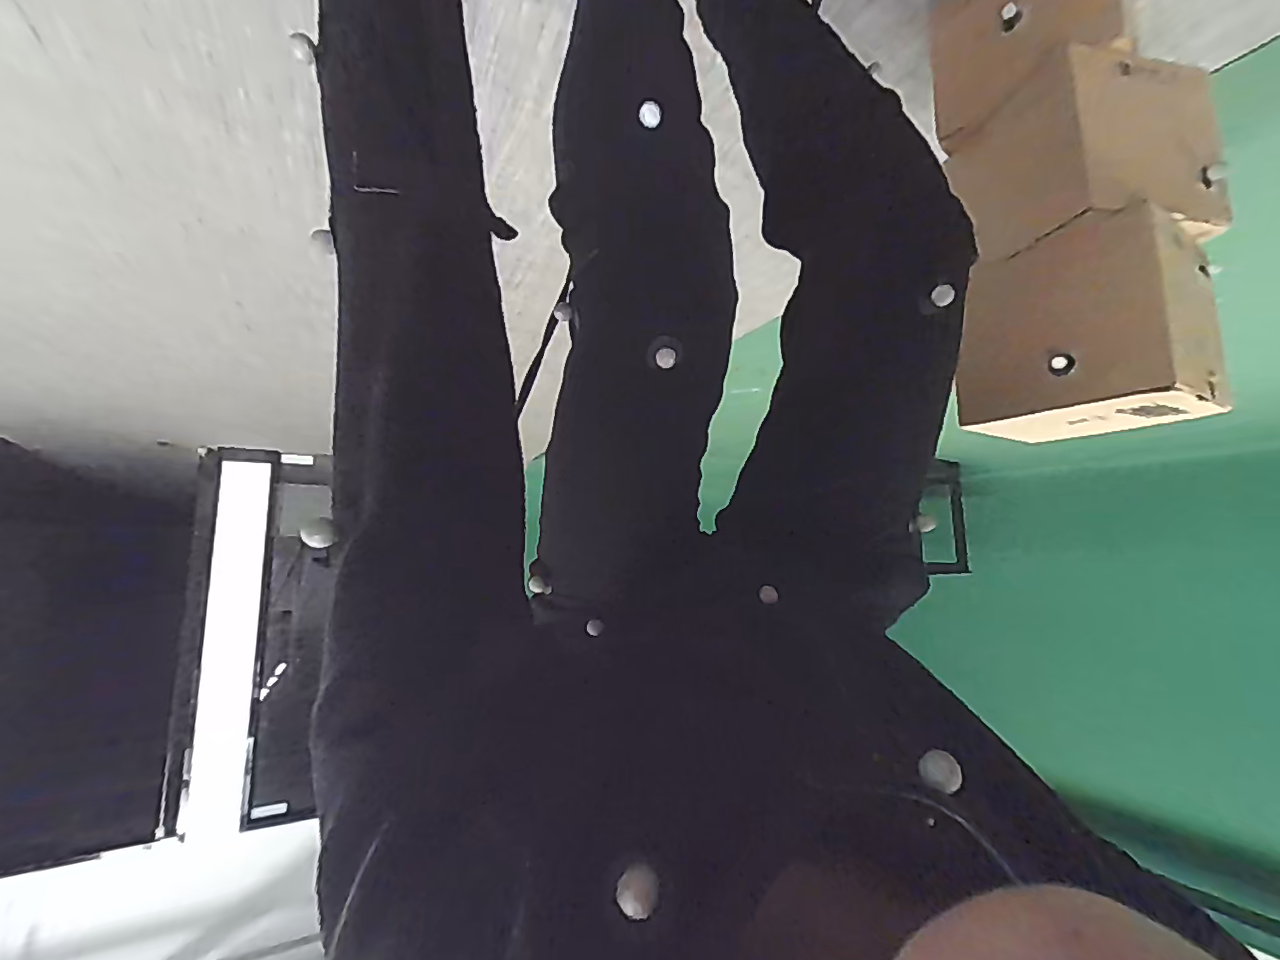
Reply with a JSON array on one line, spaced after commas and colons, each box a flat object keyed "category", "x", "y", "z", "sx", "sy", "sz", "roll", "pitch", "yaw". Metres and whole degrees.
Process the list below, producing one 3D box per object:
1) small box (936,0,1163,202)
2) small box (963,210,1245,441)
[{"category": "small box", "x": 0.459, "y": -0.468, "z": 0.615, "sx": 0.179, "sy": 0.176, "sz": 0.168, "roll": 7, "pitch": 169, "yaw": -39}, {"category": "small box", "x": 0.465, "y": -0.143, "z": 0.558, "sx": 0.168, "sy": 0.176, "sz": 0.179, "roll": 4, "pitch": 172, "yaw": -31}]
